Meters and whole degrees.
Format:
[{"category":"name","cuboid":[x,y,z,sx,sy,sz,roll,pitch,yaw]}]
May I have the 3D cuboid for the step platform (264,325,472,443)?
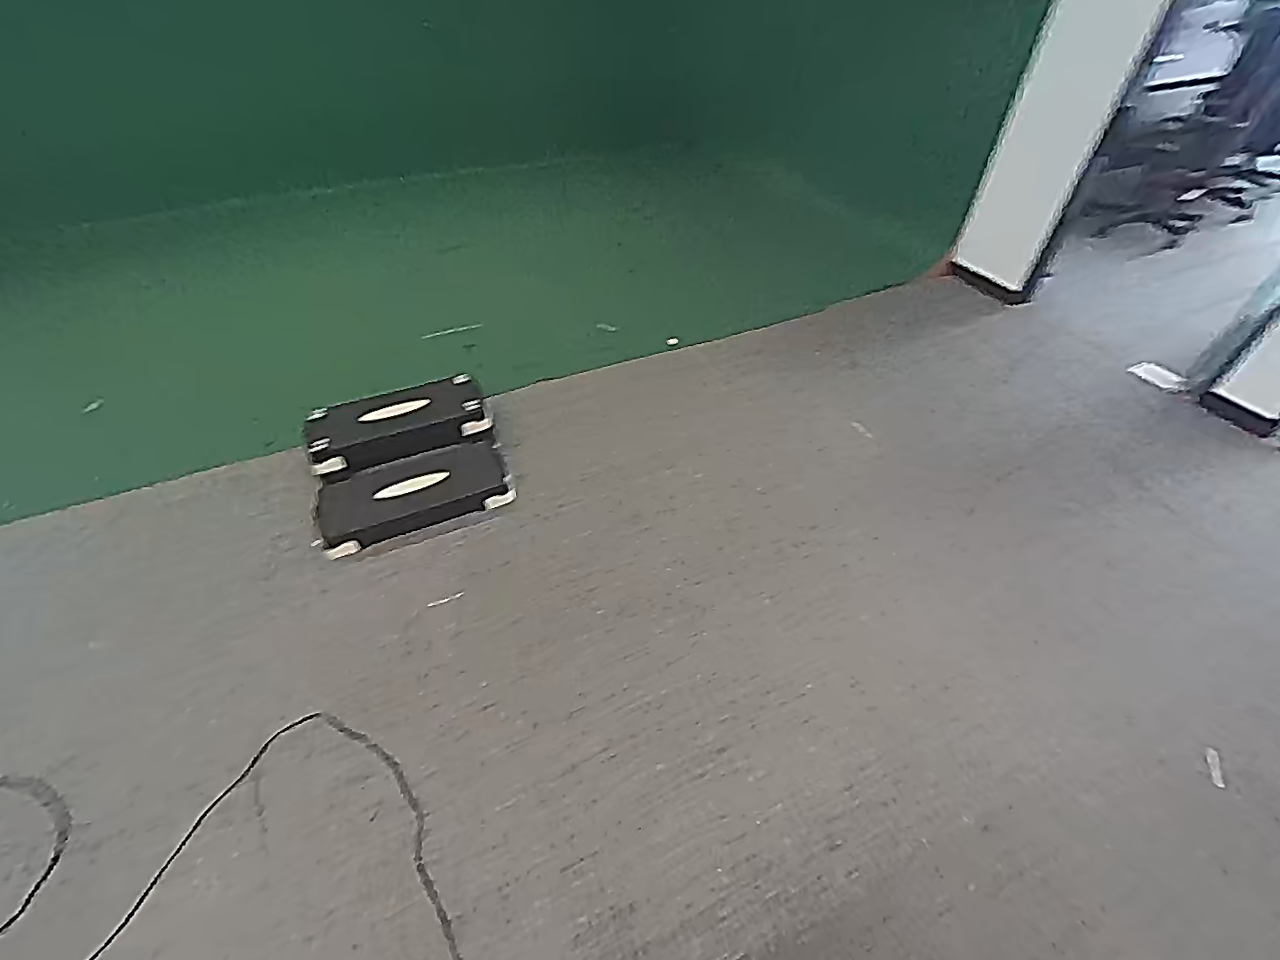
[{"category":"step platform","cuboid":[-0.993,-0.369,2.031,0.684,0.204,0.286,-18,49,-15]}]
